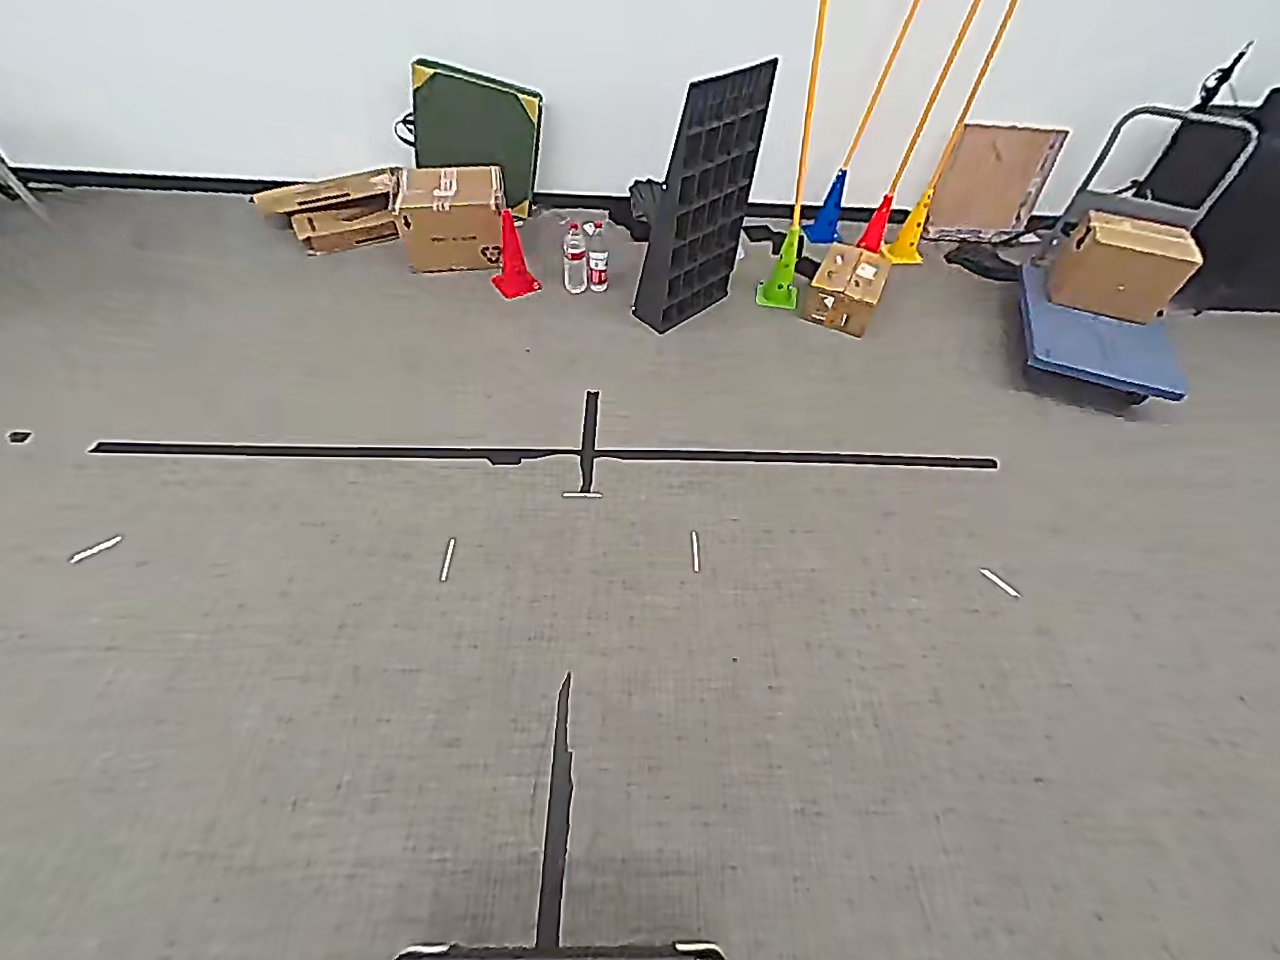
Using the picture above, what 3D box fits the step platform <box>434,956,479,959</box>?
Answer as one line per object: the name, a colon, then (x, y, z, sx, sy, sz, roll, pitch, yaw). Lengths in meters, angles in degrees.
step platform: (-0.107, 1.088, 0.987, 0.684, 0.204, 0.286, 6, 50, 0)
